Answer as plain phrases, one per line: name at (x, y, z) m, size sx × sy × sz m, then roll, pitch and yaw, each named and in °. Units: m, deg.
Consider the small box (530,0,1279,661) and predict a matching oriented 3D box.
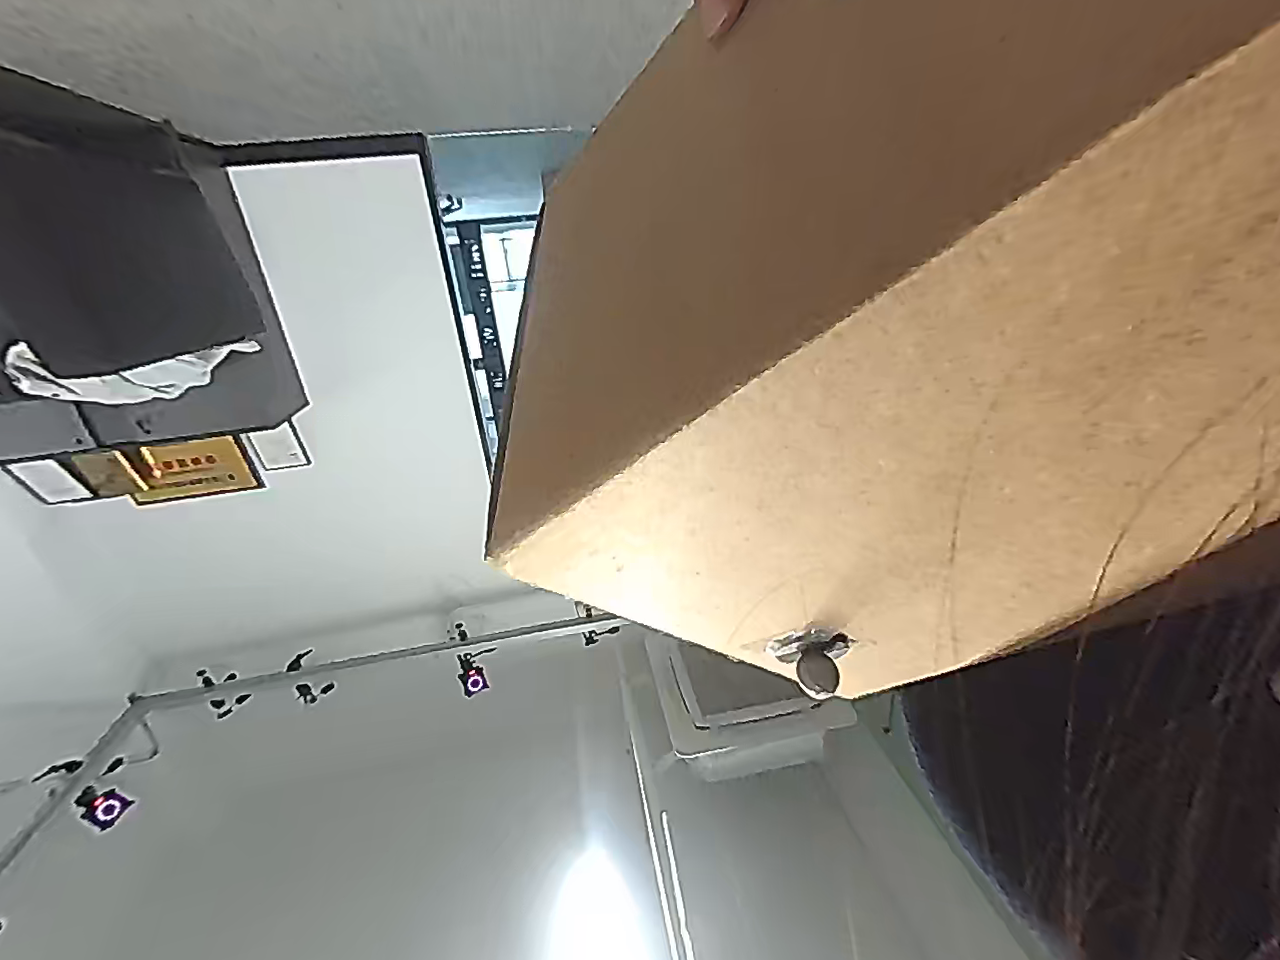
small box at (0.085, -0.061, 0.181) m, size 0.176 × 0.168 × 0.179 m, roll -34°, pitch -137°, yaw 34°
